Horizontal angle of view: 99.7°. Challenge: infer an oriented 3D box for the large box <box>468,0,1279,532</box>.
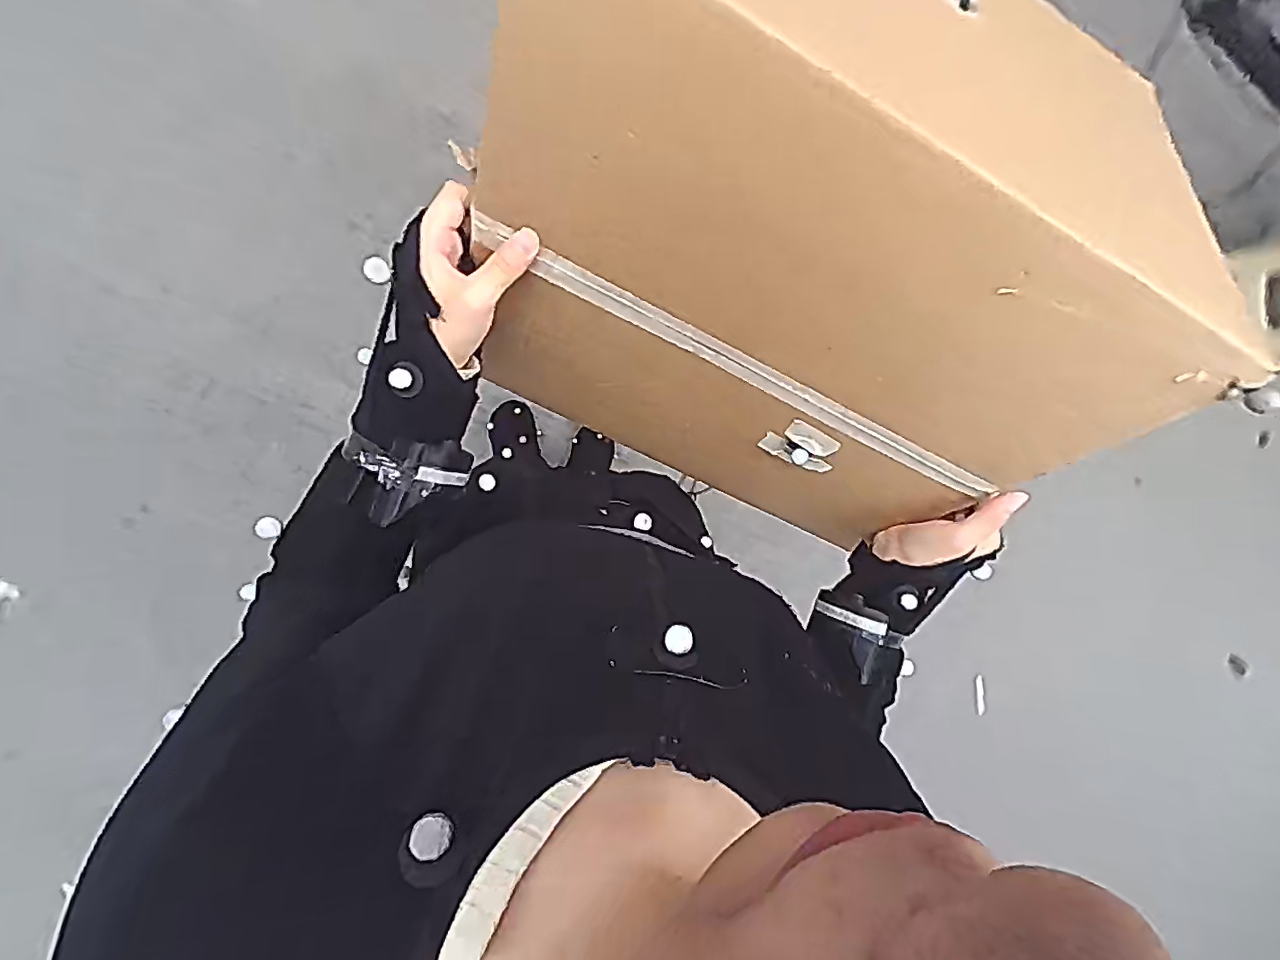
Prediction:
[{"bbox_3d":[0.126,-0.211,0.415,0.408,0.320,0.320,23,61,-11],"label":"large box"}]
